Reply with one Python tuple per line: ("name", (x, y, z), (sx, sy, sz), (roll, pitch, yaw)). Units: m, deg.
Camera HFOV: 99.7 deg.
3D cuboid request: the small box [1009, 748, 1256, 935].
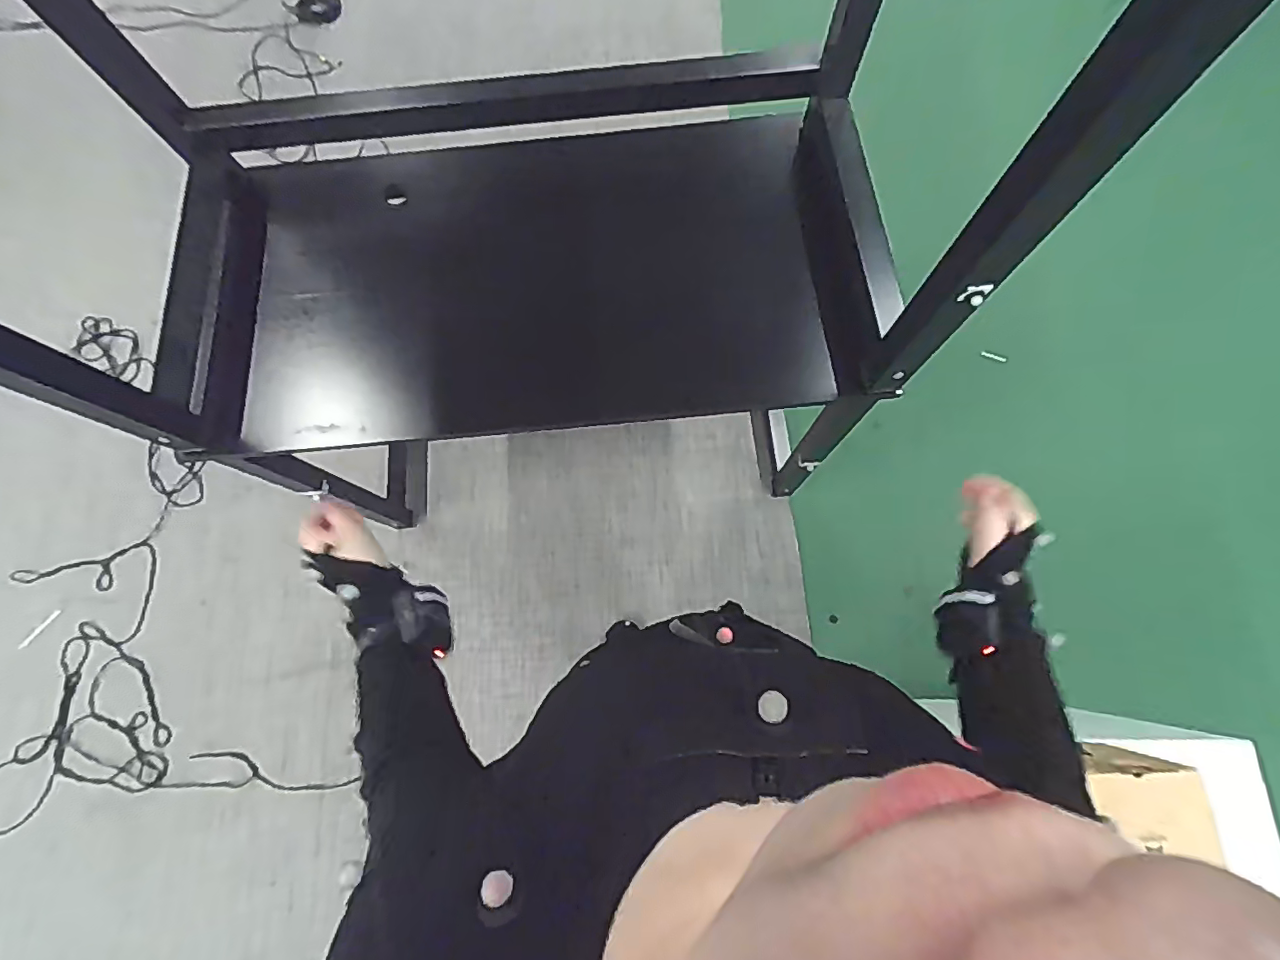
("small box", (0.642, 0.473, 0.735), (0.168, 0.176, 0.179), (-2, 75, 2))
